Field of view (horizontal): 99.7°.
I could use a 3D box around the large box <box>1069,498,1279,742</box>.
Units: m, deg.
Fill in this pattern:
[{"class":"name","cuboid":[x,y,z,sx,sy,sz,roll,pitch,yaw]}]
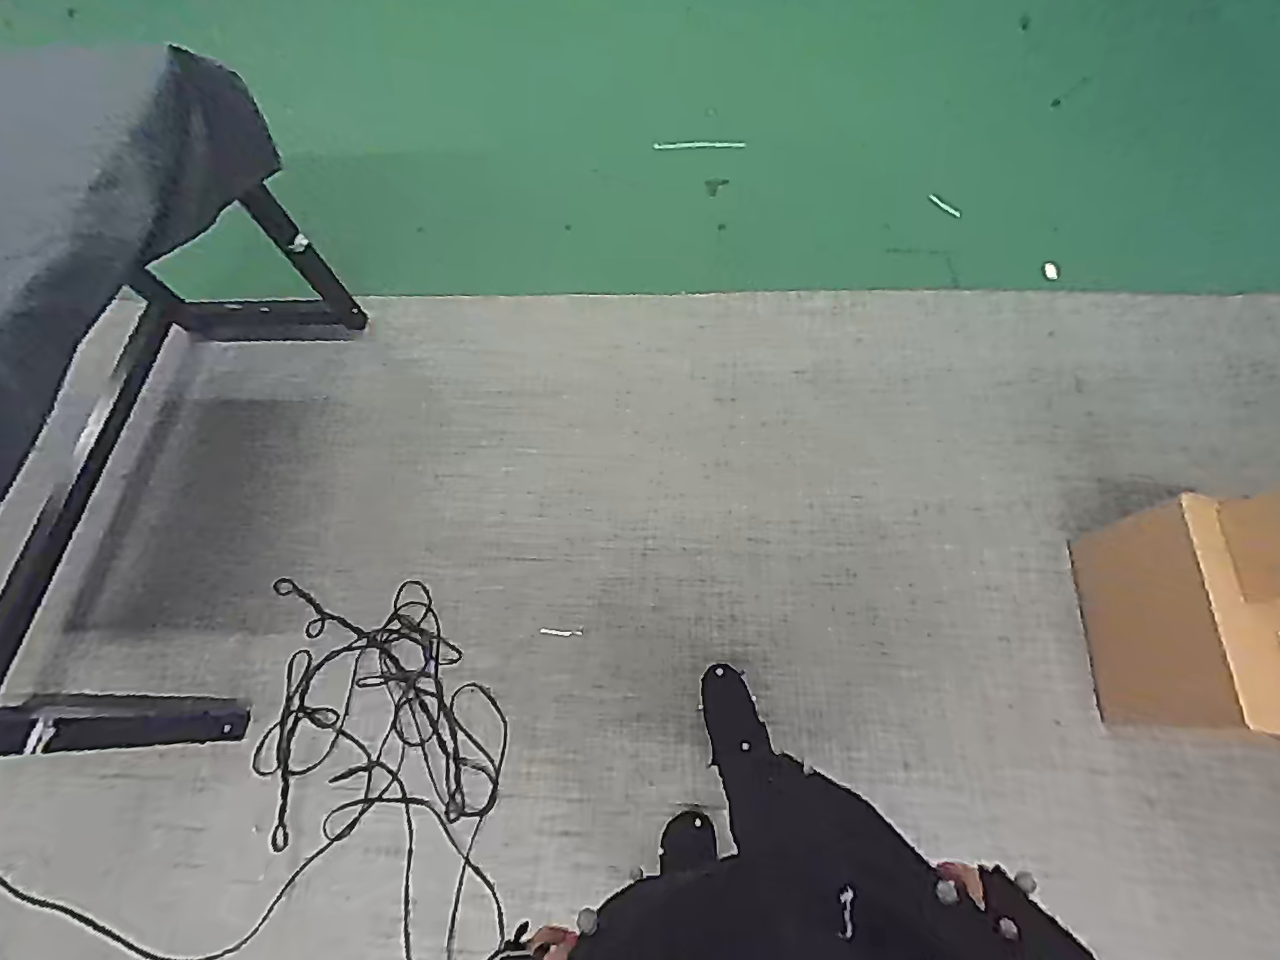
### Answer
[{"class":"large box","cuboid":[1.122,0.277,1.043,0.320,0.320,0.408,4,68,6]}]
